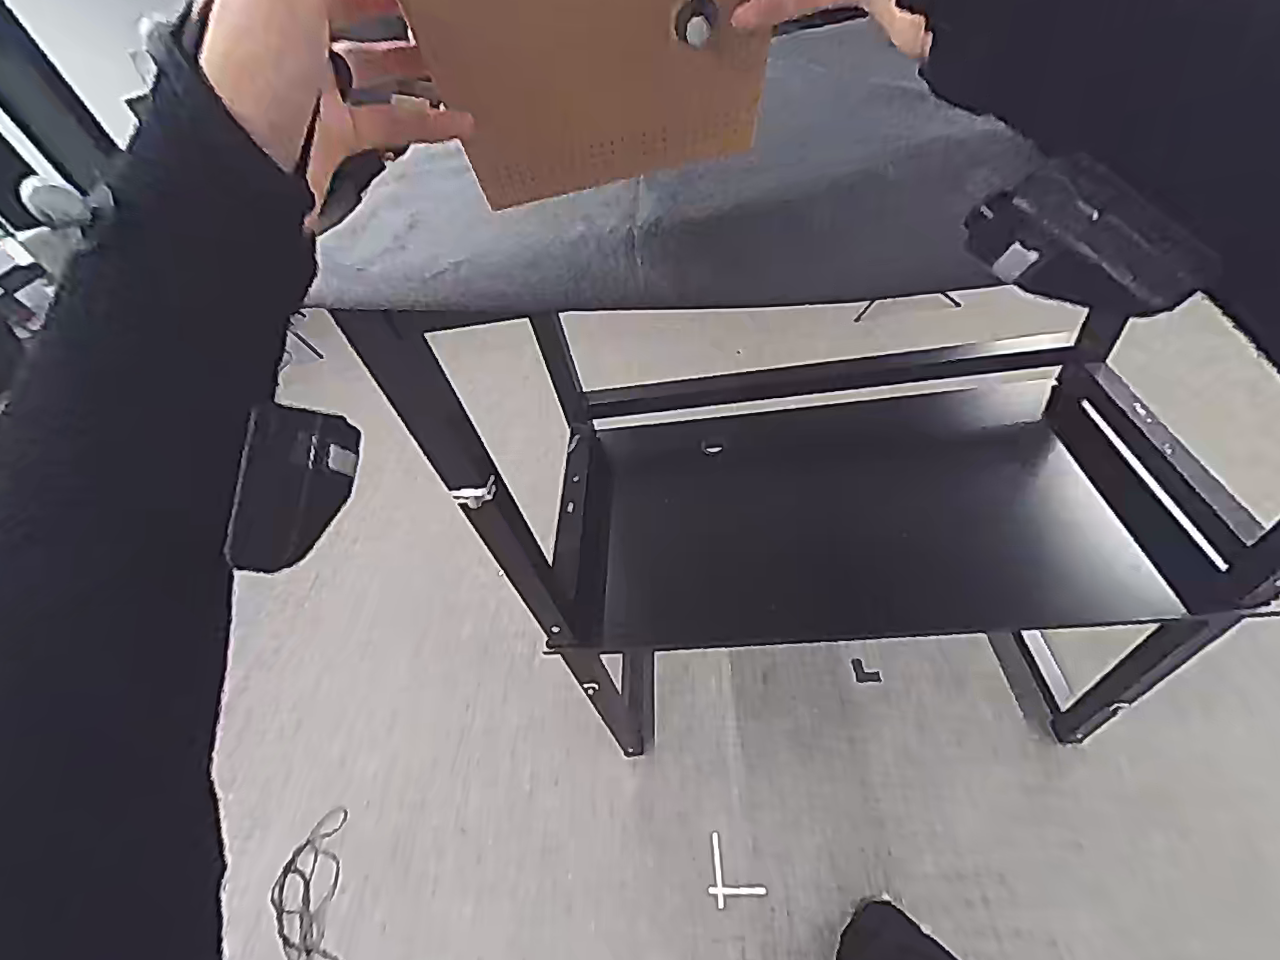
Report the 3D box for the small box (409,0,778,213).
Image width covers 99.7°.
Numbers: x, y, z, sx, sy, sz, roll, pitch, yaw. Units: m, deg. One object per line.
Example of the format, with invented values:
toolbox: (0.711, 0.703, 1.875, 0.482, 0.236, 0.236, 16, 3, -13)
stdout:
small box: (-0.030, -0.283, 0.295, 0.179, 0.176, 0.168, -14, 75, -2)
